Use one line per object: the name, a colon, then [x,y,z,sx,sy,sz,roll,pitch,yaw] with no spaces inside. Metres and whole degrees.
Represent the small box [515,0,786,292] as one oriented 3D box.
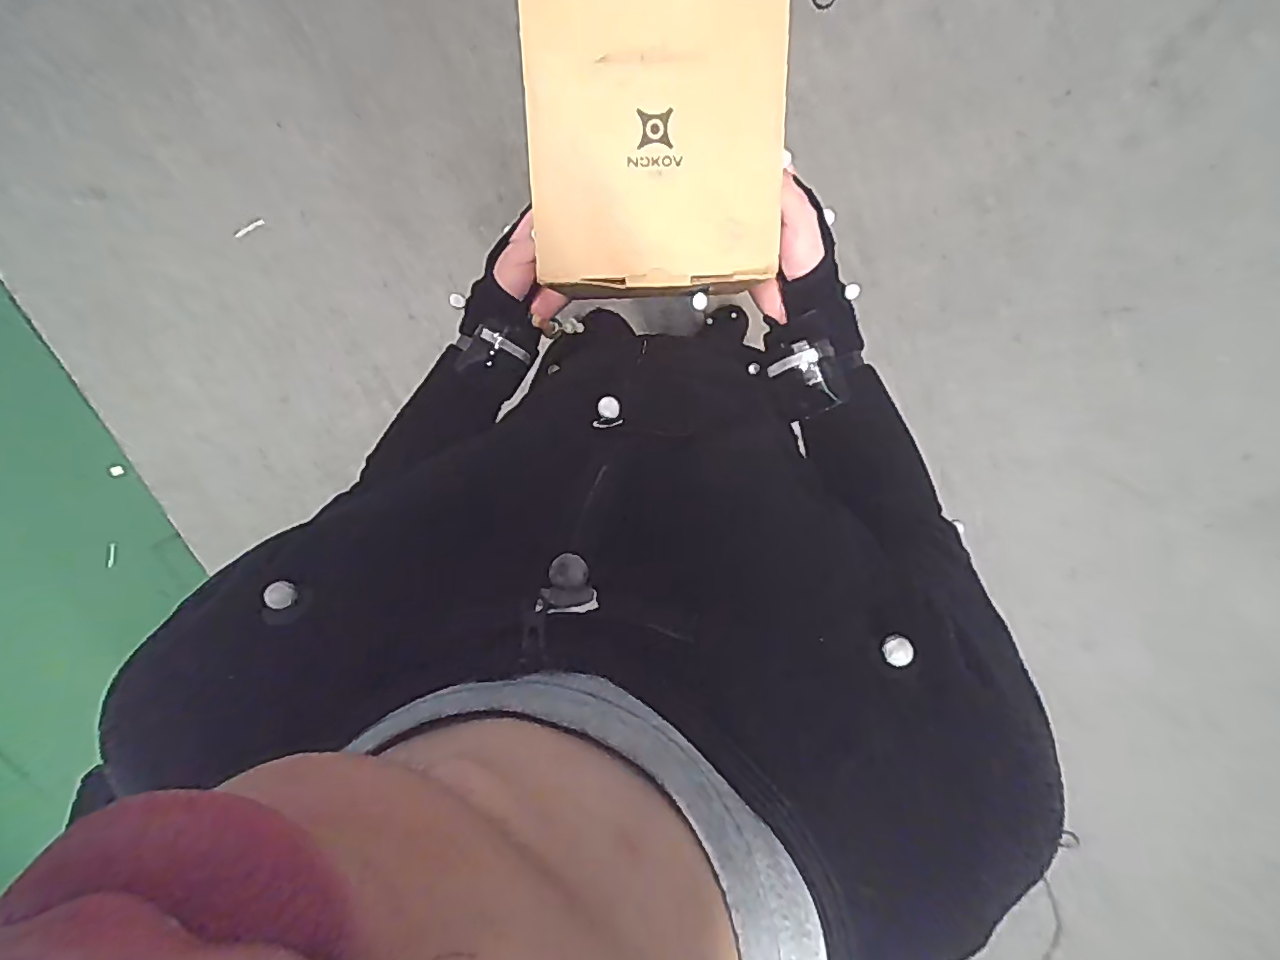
small box: [0.008,-0.241,0.419,0.168,0.176,0.179,-2,105,0]
